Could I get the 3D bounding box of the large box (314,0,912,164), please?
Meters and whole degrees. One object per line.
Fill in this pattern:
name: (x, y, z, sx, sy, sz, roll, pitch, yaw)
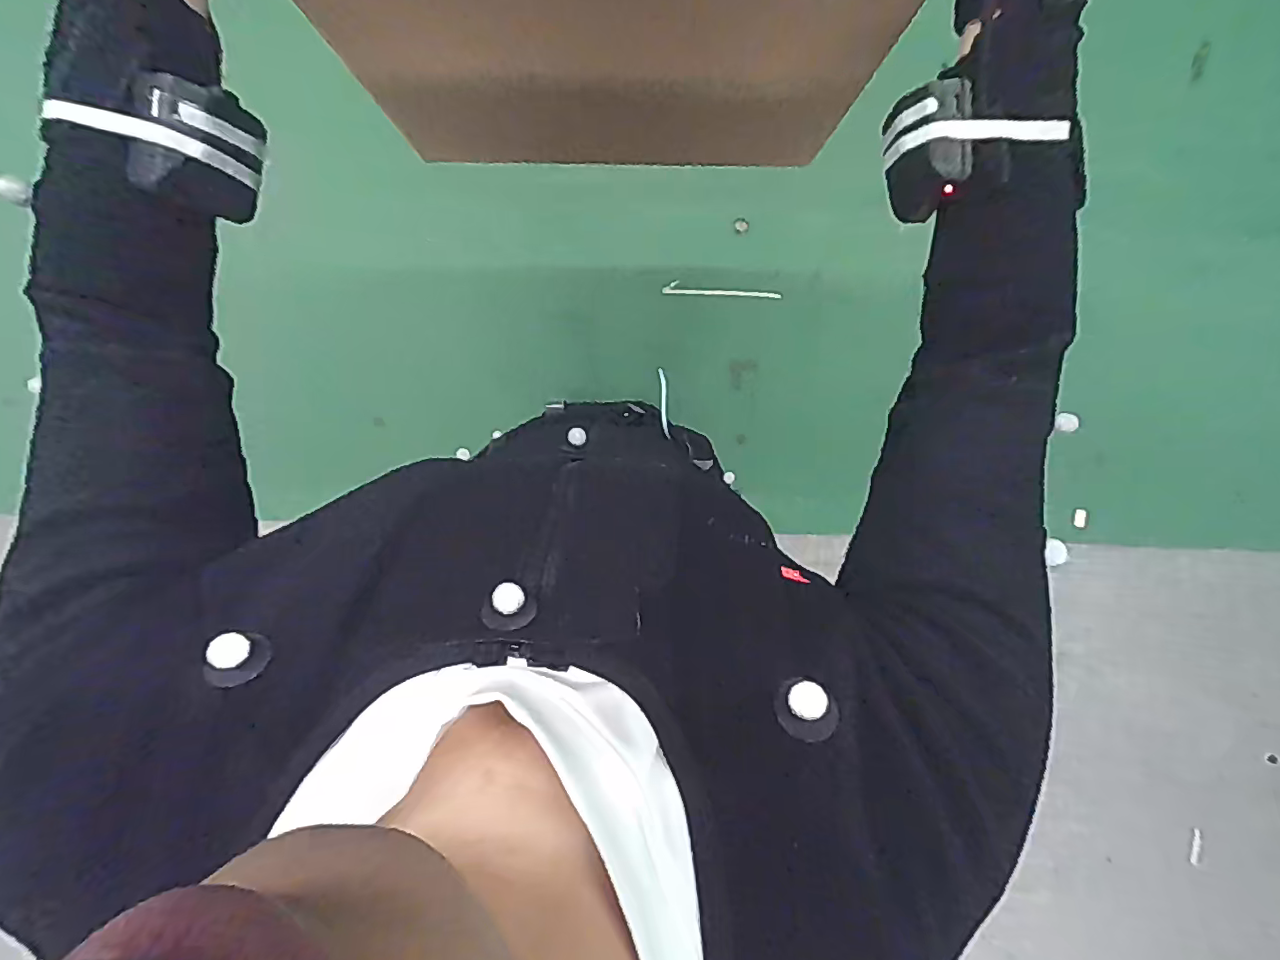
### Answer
large box: (-0.021, -0.465, 0.399, 0.408, 0.320, 0.320, -1, 97, -2)
